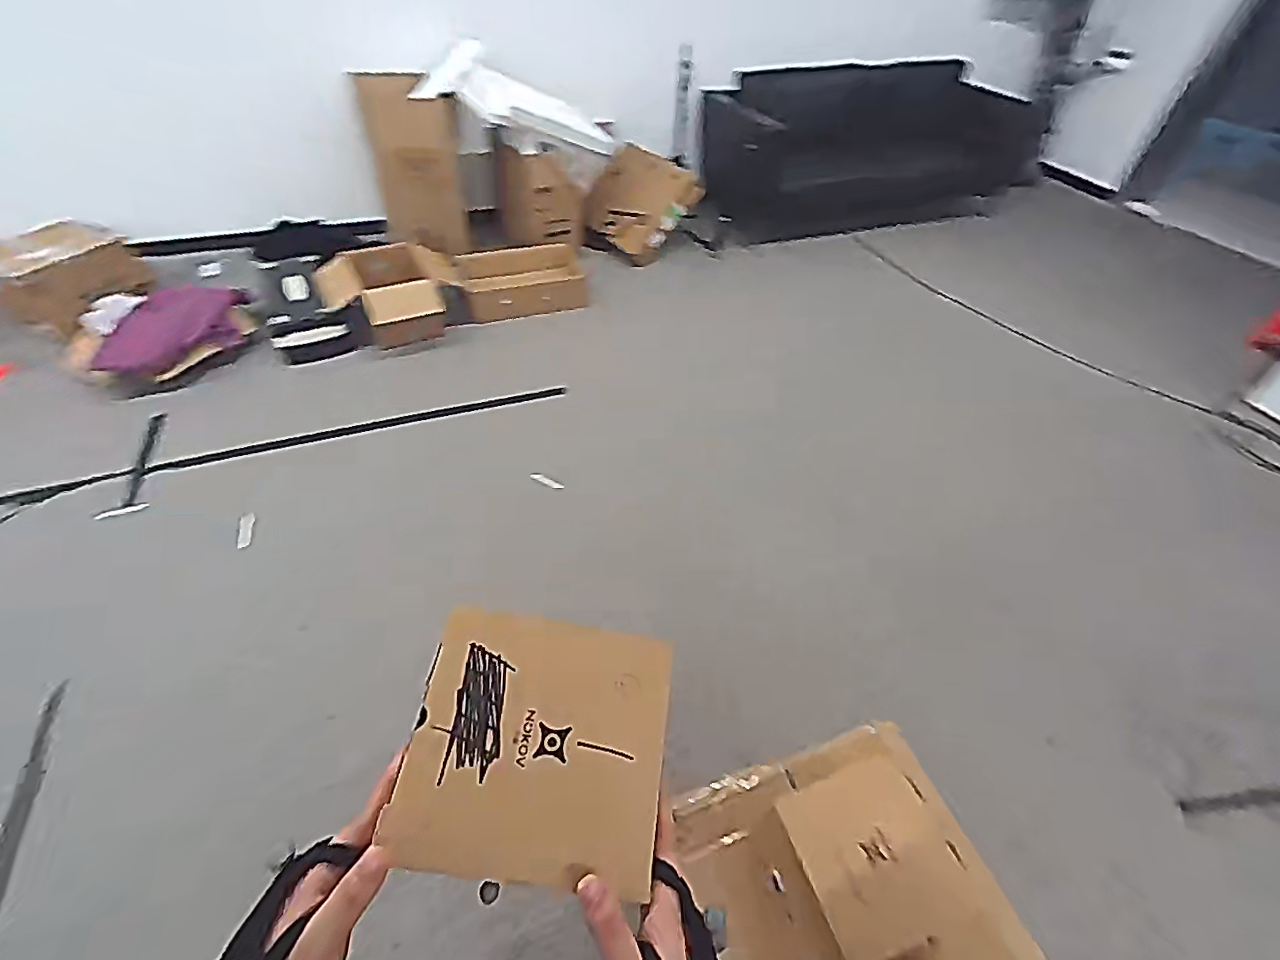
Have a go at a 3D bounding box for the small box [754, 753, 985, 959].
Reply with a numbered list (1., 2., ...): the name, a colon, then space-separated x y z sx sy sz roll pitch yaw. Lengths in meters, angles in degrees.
1. small box: 0.265 0.474 0.670 0.179 0.176 0.168 -14 48 -15

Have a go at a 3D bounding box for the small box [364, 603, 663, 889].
1. small box: -0.089 0.220 0.444 0.179 0.176 0.168 11 56 -6
